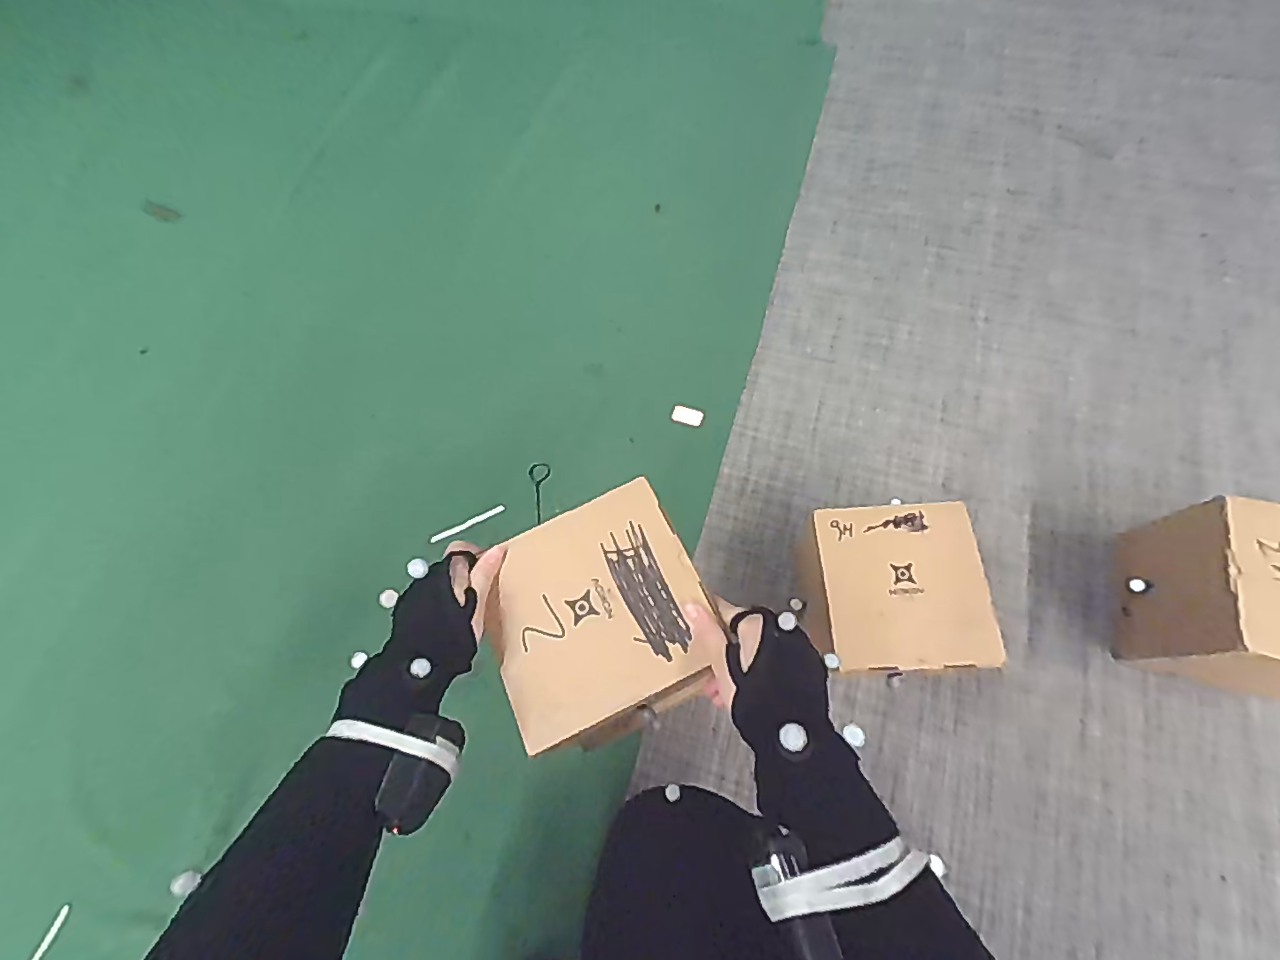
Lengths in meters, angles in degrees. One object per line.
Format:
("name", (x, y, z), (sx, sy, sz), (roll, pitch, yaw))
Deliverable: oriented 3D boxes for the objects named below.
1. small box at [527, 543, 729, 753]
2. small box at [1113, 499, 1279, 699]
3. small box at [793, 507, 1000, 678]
("small box", (-0.008, 0.206, 0.654), (0.179, 0.176, 0.168), (-27, 67, -5))
("small box", (0.680, 0.139, 0.598), (0.179, 0.176, 0.168), (12, 69, 10))
("small box", (0.285, 0.142, 0.645), (0.168, 0.176, 0.179), (-3, 69, 5))
